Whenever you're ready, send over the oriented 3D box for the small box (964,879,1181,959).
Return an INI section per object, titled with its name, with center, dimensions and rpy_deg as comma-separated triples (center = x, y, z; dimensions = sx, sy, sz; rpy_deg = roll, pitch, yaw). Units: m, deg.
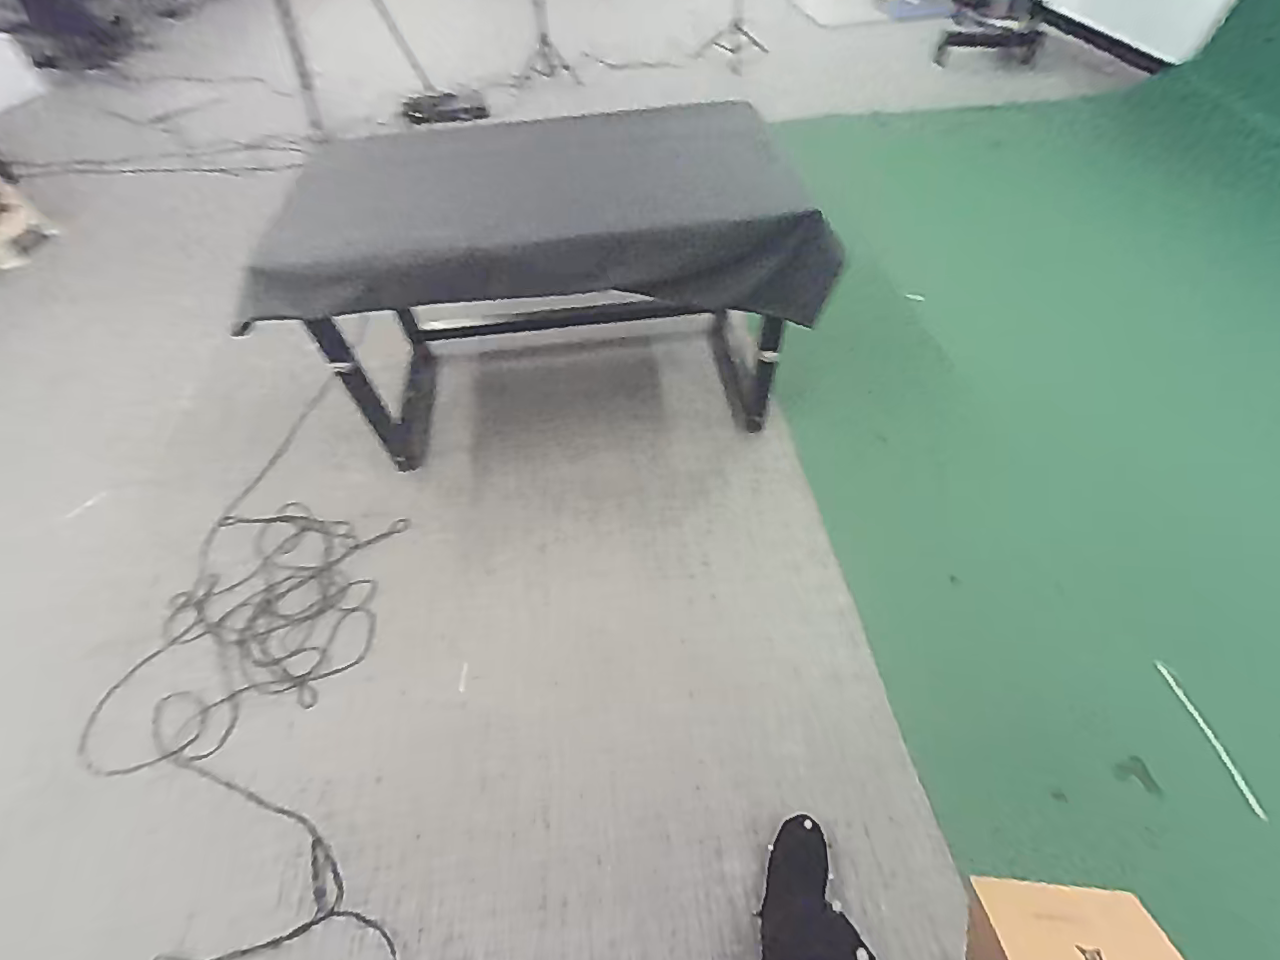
[small box]
center = 0.437, 0.544, 0.526
dimensions = 0.168, 0.179, 0.176
rpy_deg = -1, 98, 10
